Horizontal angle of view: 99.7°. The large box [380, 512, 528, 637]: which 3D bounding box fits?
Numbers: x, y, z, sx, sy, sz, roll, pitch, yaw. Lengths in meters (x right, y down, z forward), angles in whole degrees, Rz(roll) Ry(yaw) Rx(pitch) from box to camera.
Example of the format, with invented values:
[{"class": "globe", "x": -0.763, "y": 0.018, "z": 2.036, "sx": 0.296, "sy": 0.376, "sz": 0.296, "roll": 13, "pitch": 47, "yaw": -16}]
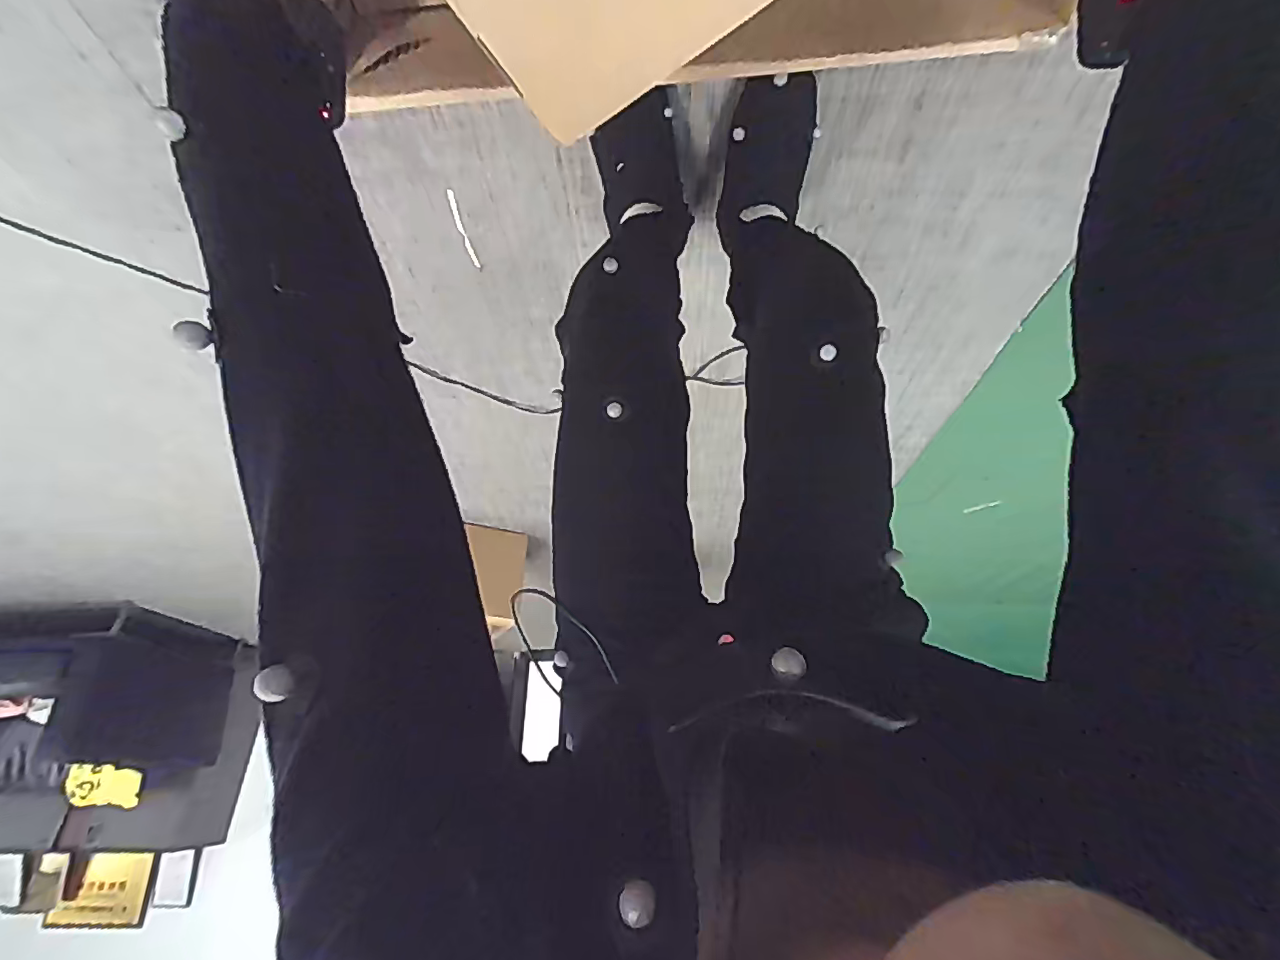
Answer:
[{"class": "large box", "x": -0.638, "y": 0.340, "z": 1.873, "sx": 0.408, "sy": 0.320, "sz": 0.320, "roll": 16, "pitch": 147, "yaw": -23}]
